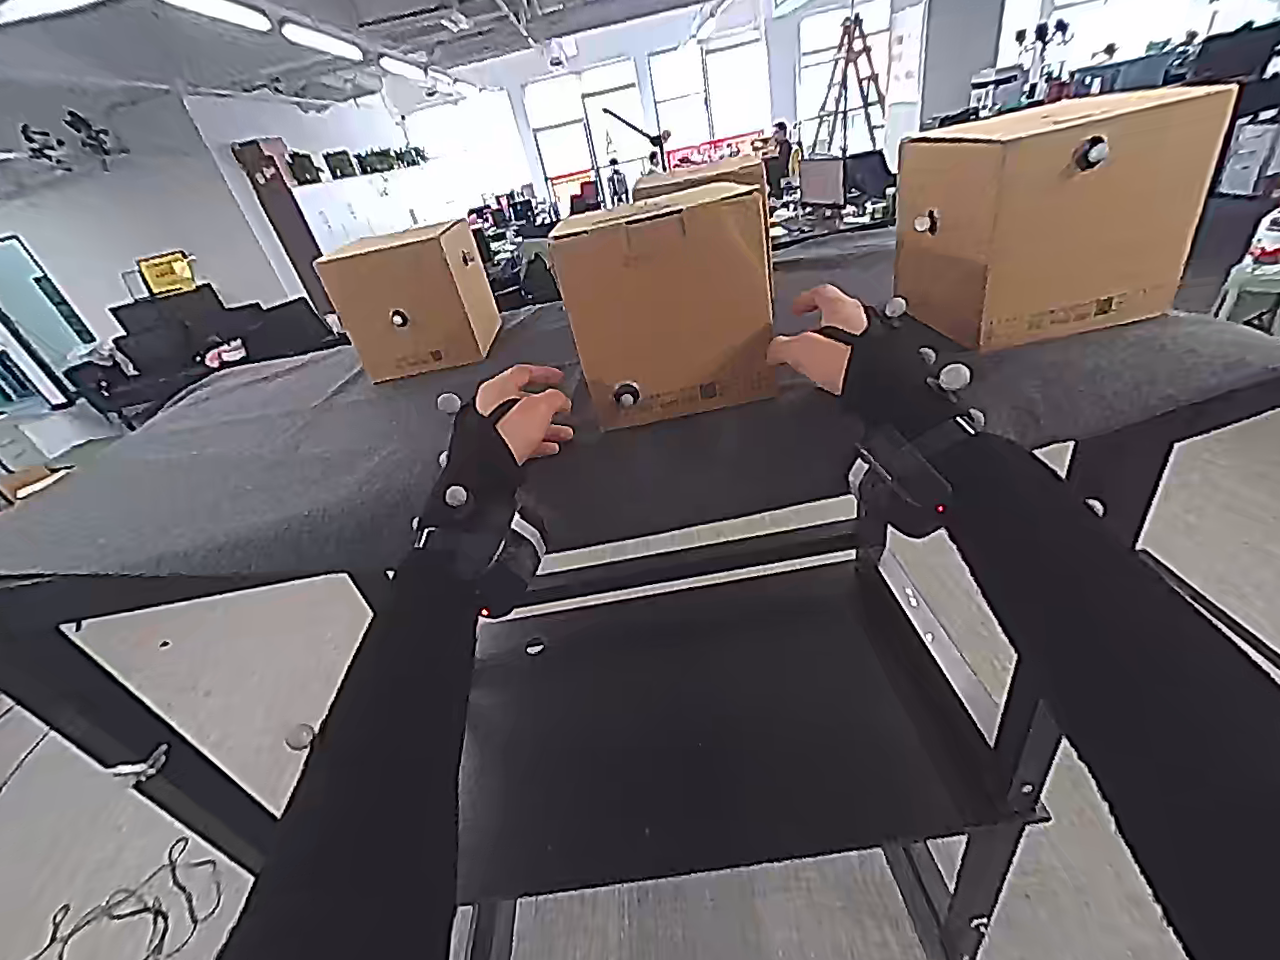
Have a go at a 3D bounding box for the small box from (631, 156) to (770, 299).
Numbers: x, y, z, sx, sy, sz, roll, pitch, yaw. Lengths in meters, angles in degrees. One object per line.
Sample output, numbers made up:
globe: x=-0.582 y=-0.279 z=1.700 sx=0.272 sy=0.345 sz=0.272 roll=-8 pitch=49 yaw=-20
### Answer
small box: x=0.087 y=-0.341 z=0.765 sx=0.168 sy=0.176 sz=0.179 roll=-7 pitch=33 yaw=8

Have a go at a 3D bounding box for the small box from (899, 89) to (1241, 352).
small box: x=0.357 y=-0.233 z=0.498 sx=0.168 sy=0.176 sz=0.179 roll=-12 pitch=31 yaw=4

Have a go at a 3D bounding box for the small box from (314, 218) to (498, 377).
small box: x=-0.317 y=-0.259 z=0.780 sx=0.168 sy=0.176 sz=0.179 roll=-11 pitch=33 yaw=3

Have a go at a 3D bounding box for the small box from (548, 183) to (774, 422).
small box: x=0.024 y=-0.165 z=0.512 sx=0.168 sy=0.176 sz=0.179 roll=-11 pitch=30 yaw=4
